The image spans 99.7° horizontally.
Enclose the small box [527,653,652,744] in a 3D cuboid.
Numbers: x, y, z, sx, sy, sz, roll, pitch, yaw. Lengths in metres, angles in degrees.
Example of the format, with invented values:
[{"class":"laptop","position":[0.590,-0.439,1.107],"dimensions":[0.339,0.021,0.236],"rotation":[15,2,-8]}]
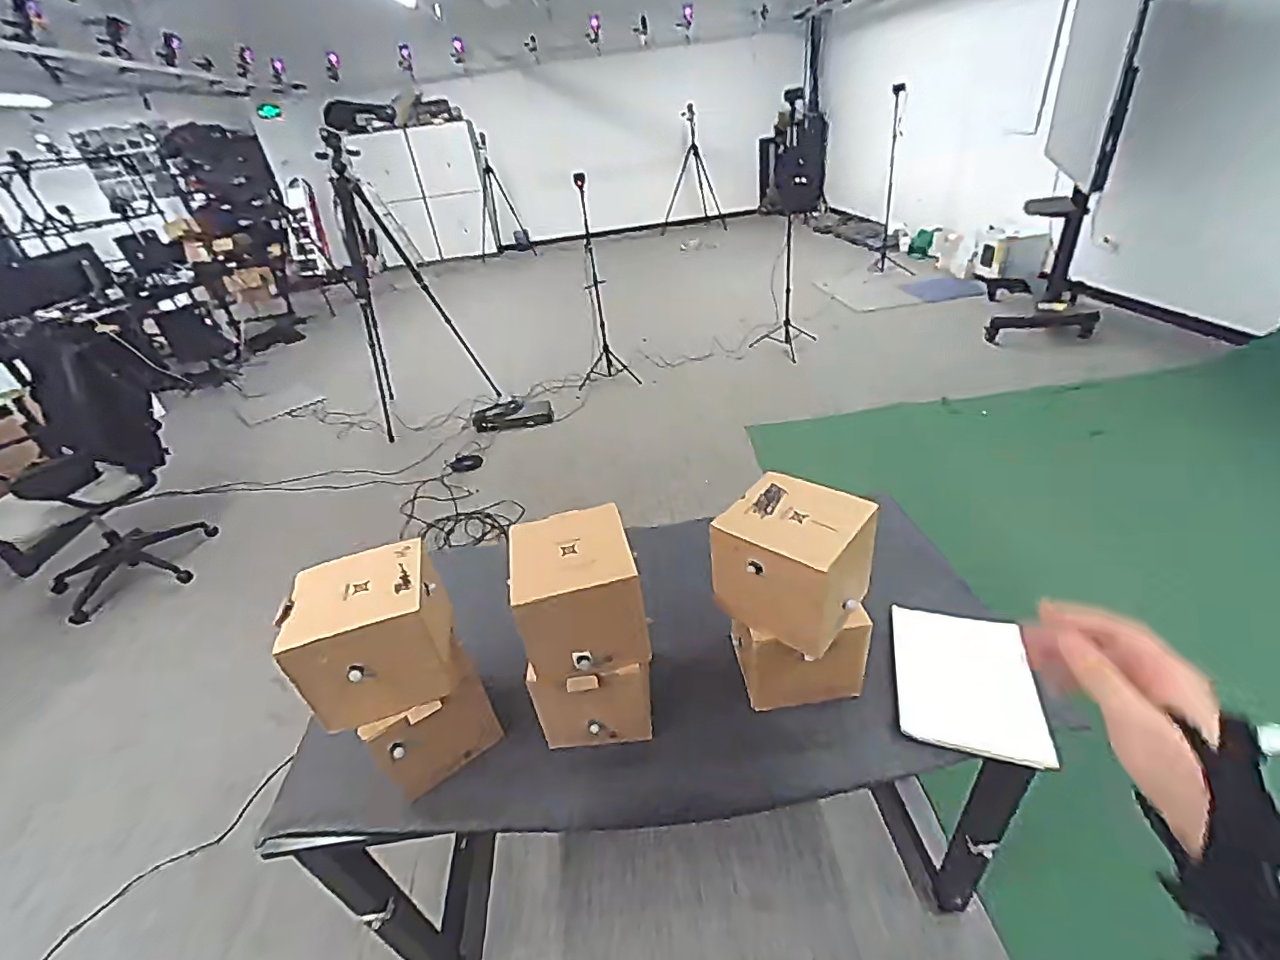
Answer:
[{"class":"small box","position":[-0.072,0.297,0.881],"dimensions":[0.168,0.176,0.179],"rotation":[-7,32,3]}]

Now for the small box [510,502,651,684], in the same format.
[{"class":"small box","position":[-0.088,0.162,0.793],"dimensions":[0.168,0.176,0.179],"rotation":[-14,33,-6]}]

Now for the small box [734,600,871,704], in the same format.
[{"class":"small box","position":[0.254,0.241,0.891],"dimensions":[0.179,0.176,0.168],"rotation":[-10,32,0]}]

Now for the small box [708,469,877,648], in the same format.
[{"class":"small box","position":[0.221,0.112,0.794],"dimensions":[0.179,0.176,0.168],"rotation":[21,43,38]}]

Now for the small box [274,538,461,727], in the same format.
[{"class":"small box","position":[-0.372,0.216,0.773],"dimensions":[0.179,0.176,0.168],"rotation":[-17,34,-11]}]
